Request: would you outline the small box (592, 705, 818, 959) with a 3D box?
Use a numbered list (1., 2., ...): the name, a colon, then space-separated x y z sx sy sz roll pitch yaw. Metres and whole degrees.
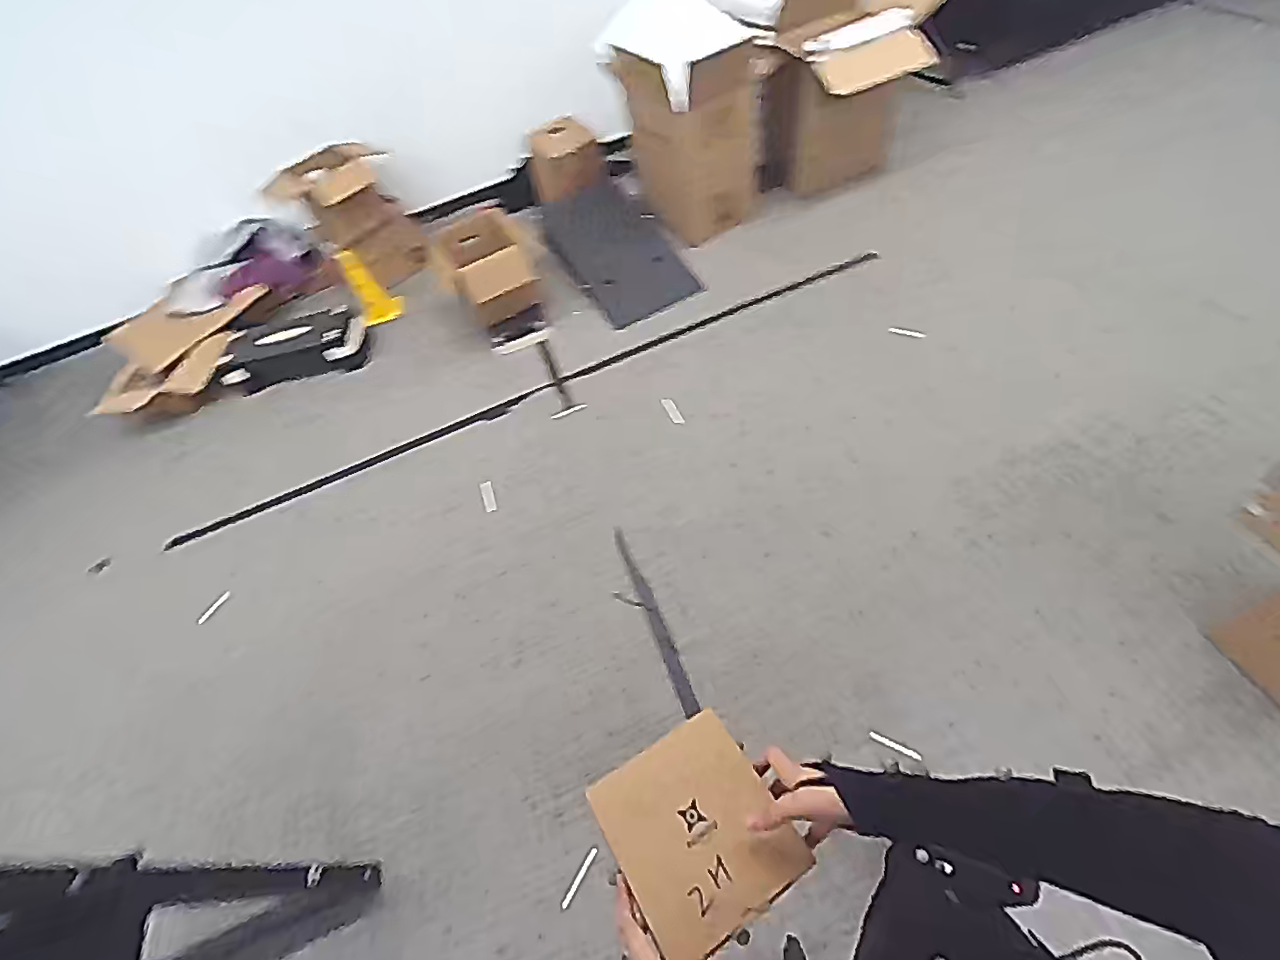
1. small box: 0.058 0.393 0.598 0.168 0.176 0.179 -24 53 -19
